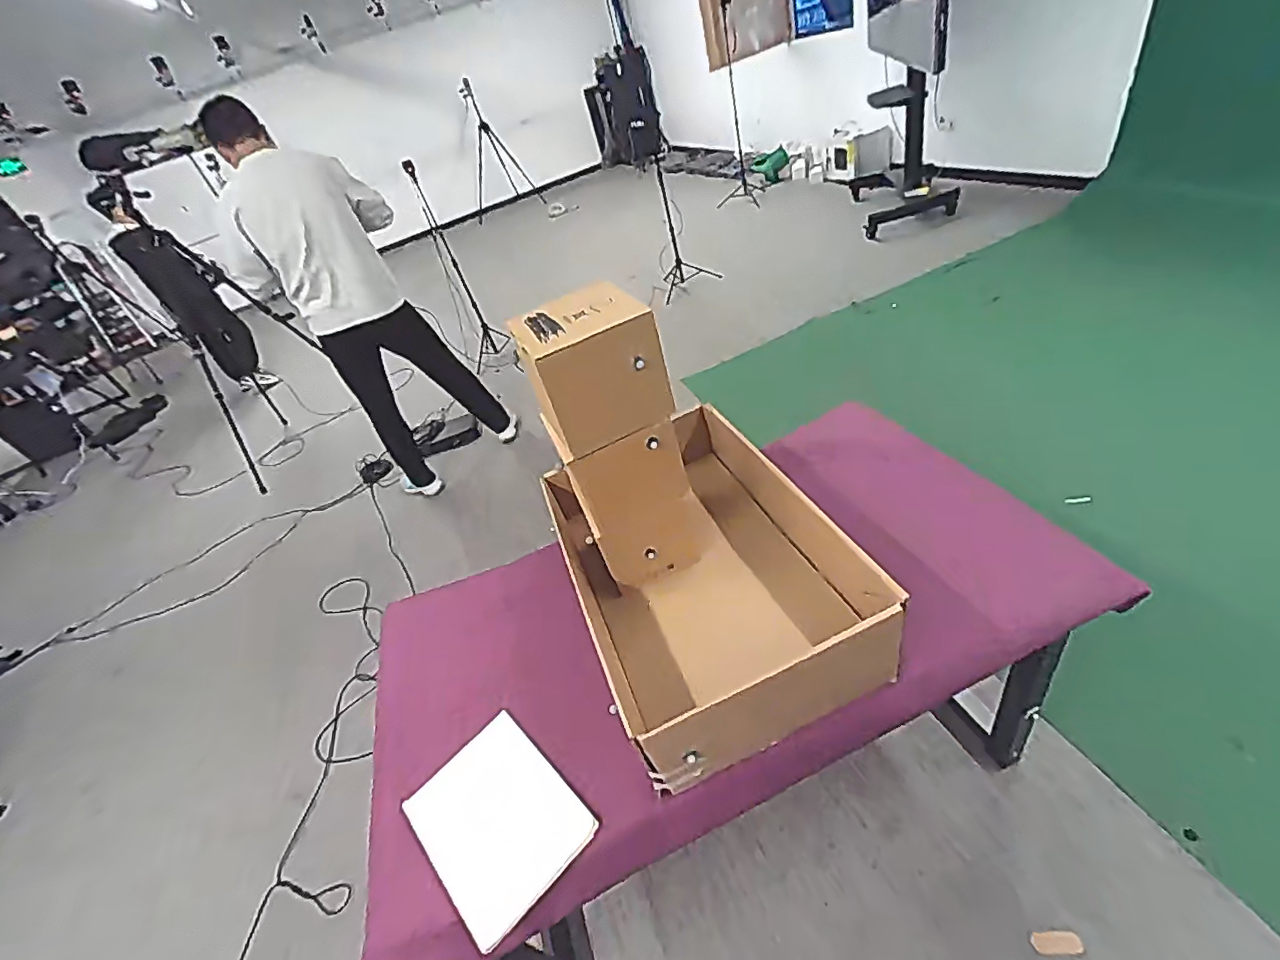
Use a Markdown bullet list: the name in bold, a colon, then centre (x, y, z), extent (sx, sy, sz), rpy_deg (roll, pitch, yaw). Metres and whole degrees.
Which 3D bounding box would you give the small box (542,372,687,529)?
- **small box**: centre (-0.041, -0.048, 0.913), extent (0.179, 0.176, 0.168), rpy_deg (-25, 40, -8)

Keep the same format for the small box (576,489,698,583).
- **small box**: centre (-0.006, 0.070, 1.017), extent (0.168, 0.176, 0.179), rpy_deg (-24, 40, -6)
